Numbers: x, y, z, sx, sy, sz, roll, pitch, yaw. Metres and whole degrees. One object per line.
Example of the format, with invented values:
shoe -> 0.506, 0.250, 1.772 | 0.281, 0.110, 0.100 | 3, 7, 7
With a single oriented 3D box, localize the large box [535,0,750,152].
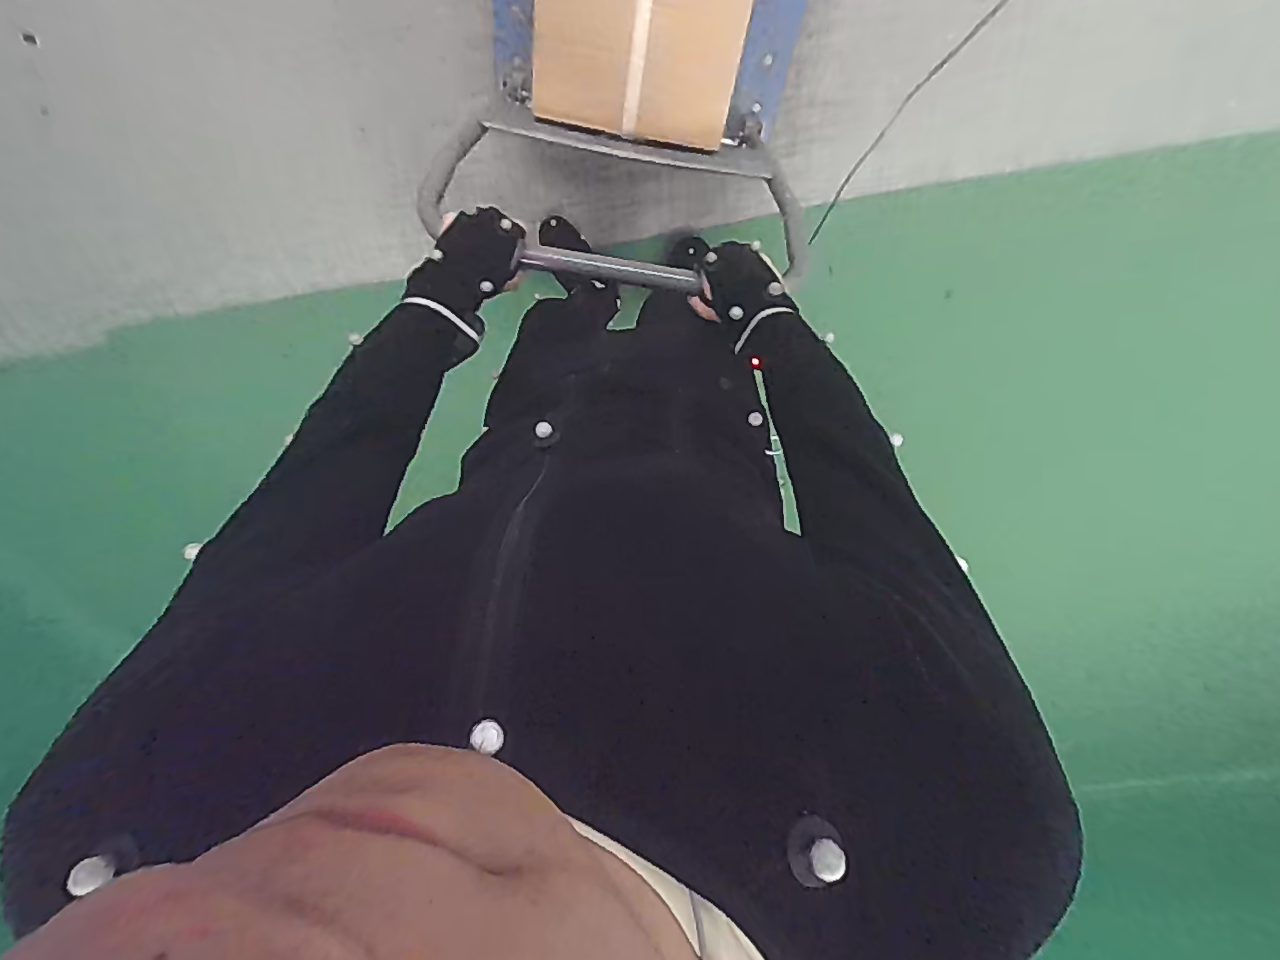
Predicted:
large box -> 0.016, -0.820, 0.894 | 0.320, 0.320, 0.408 | 9, 130, -6
